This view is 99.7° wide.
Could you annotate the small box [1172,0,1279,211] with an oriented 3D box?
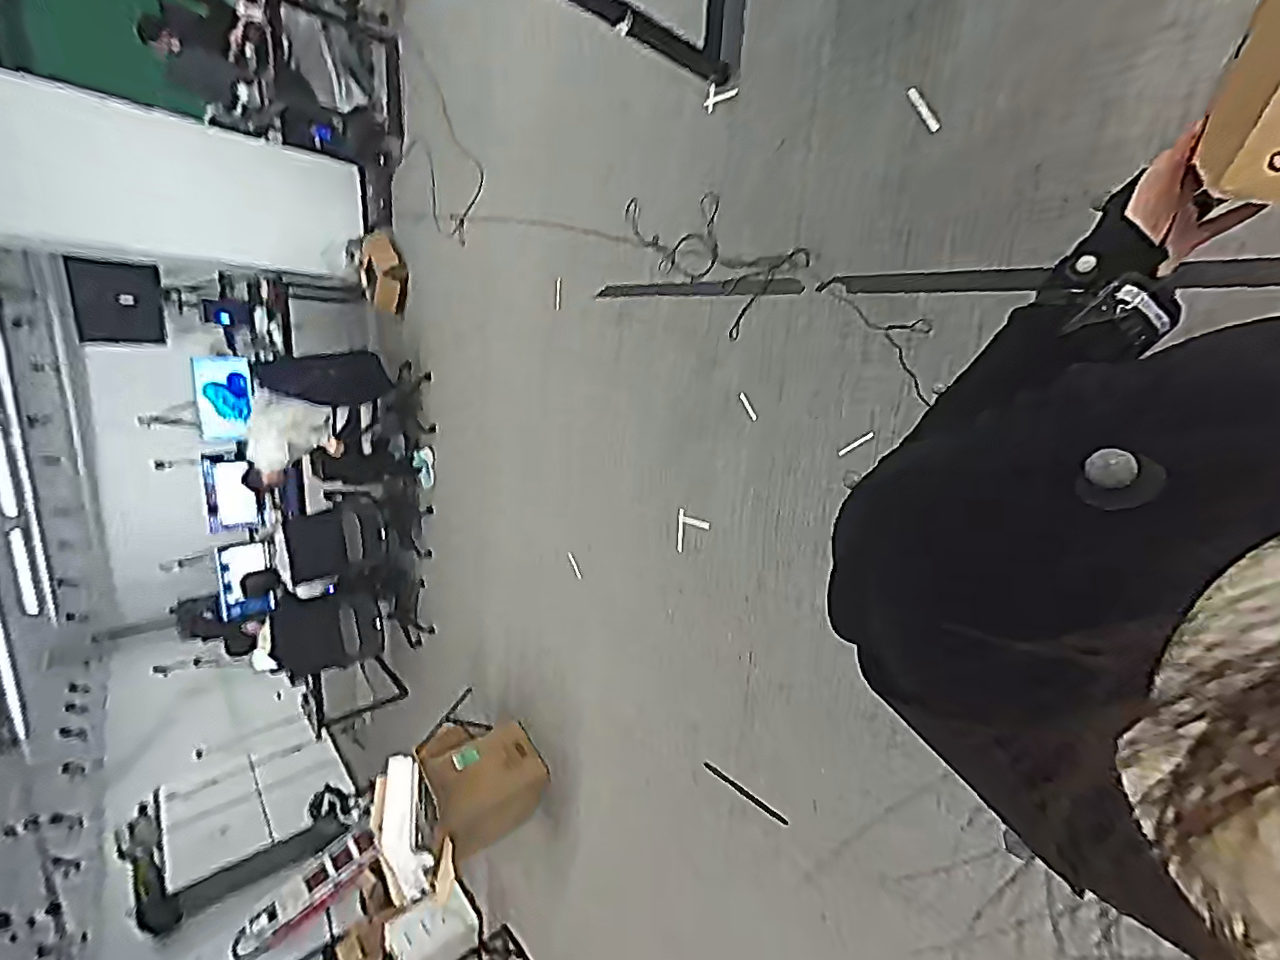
[{"bbox_3d":[0.436,-0.243,0.280,0.179,0.176,0.168,20,136,24],"label":"small box"}]
